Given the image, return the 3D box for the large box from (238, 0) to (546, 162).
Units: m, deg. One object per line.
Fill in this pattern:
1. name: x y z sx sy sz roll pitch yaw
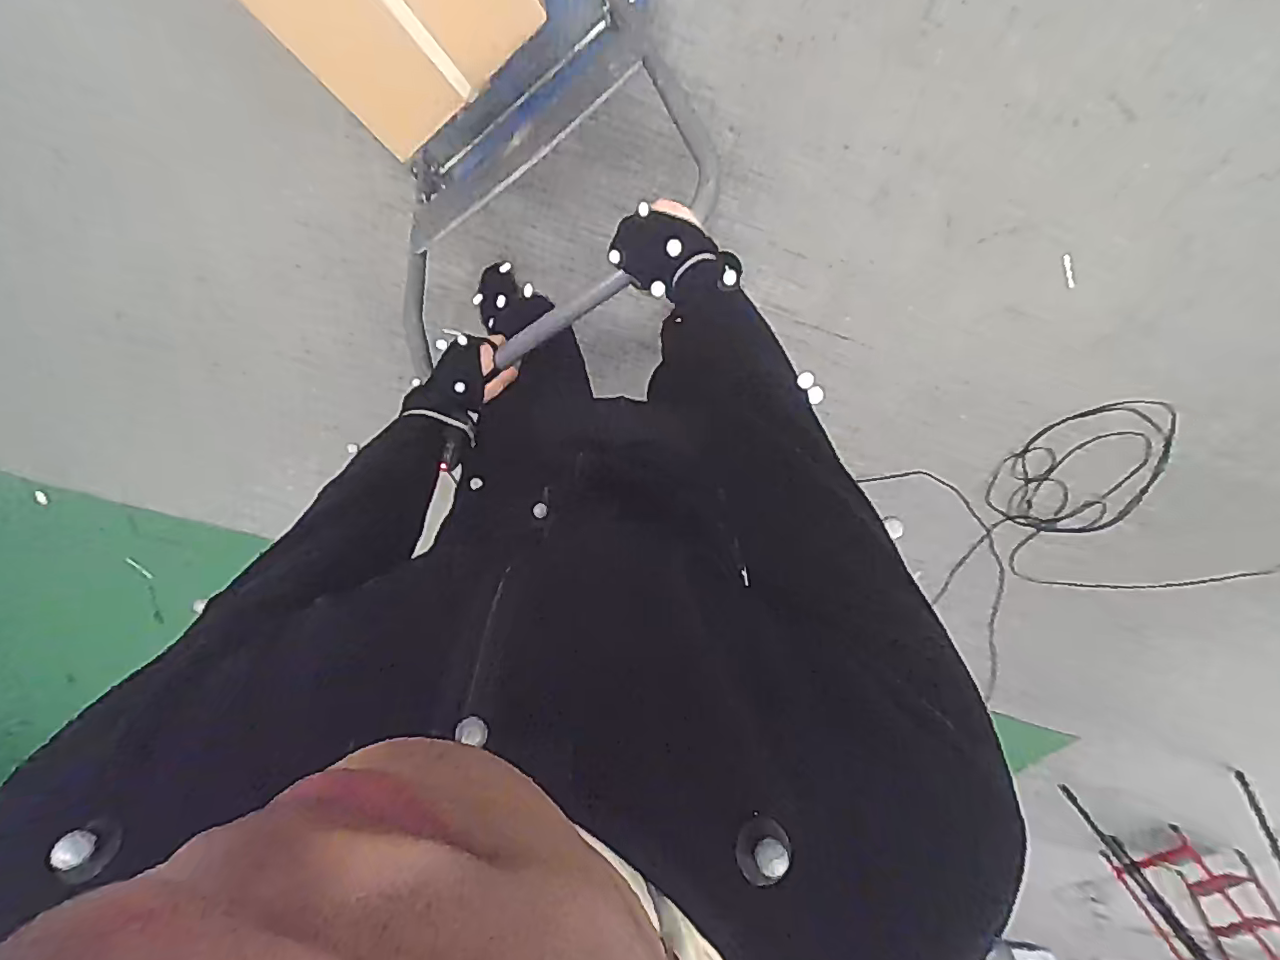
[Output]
1. large box: -0.380 -0.779 0.772 0.320 0.320 0.408 -29 138 23
